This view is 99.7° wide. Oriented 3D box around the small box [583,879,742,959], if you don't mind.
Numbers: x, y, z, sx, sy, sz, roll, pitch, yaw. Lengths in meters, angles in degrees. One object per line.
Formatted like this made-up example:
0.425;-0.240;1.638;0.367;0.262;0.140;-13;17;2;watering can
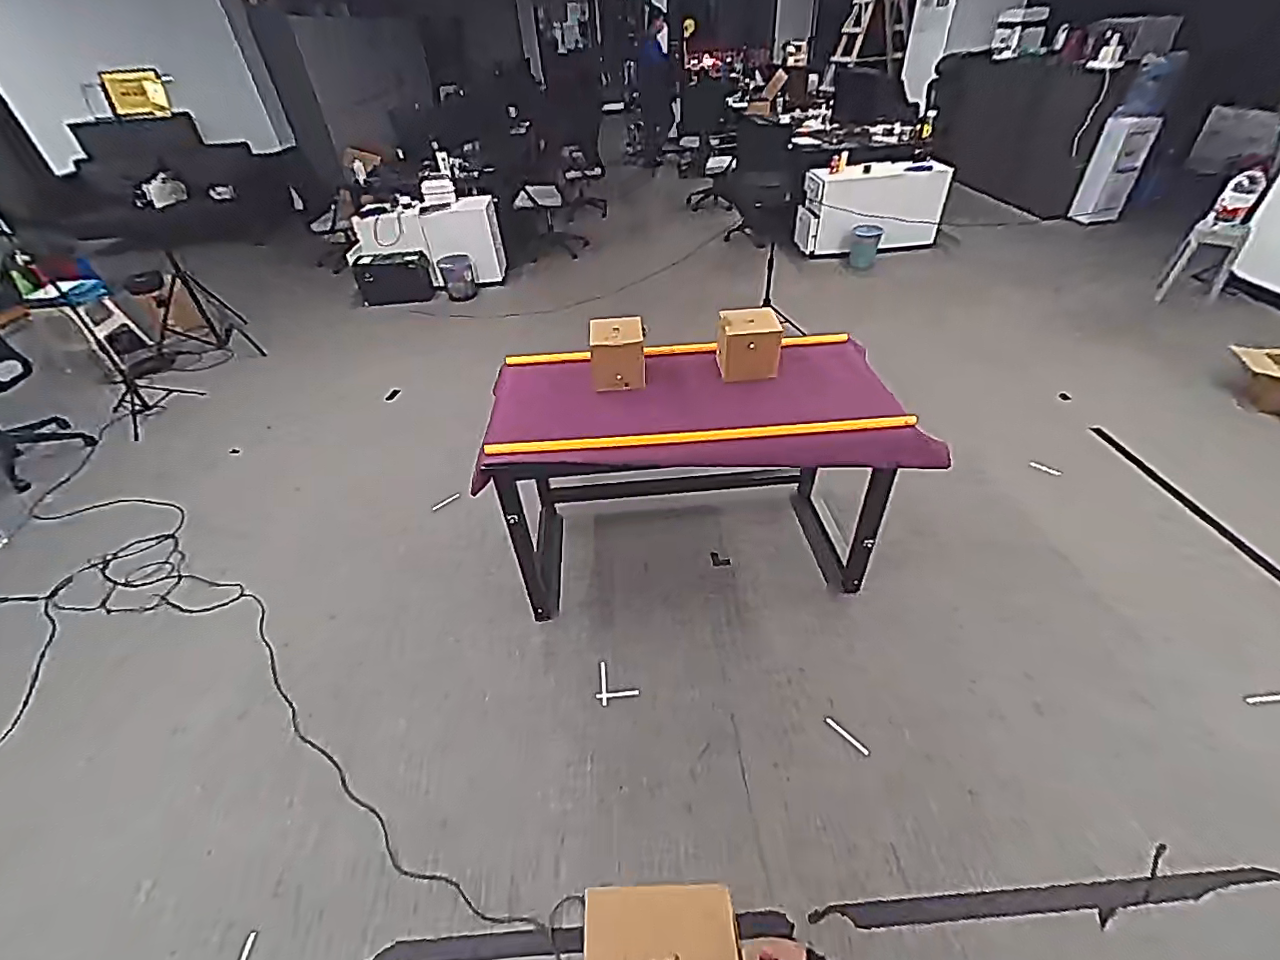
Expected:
0.021;0.594;0.631;0.179;0.176;0.168;1;34;-4;small box

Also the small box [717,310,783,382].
0.351;-0.433;1.757;0.179;0.176;0.168;-5;42;1;small box

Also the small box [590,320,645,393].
-0.072;-0.402;1.756;0.168;0.176;0.179;-5;42;0;small box
